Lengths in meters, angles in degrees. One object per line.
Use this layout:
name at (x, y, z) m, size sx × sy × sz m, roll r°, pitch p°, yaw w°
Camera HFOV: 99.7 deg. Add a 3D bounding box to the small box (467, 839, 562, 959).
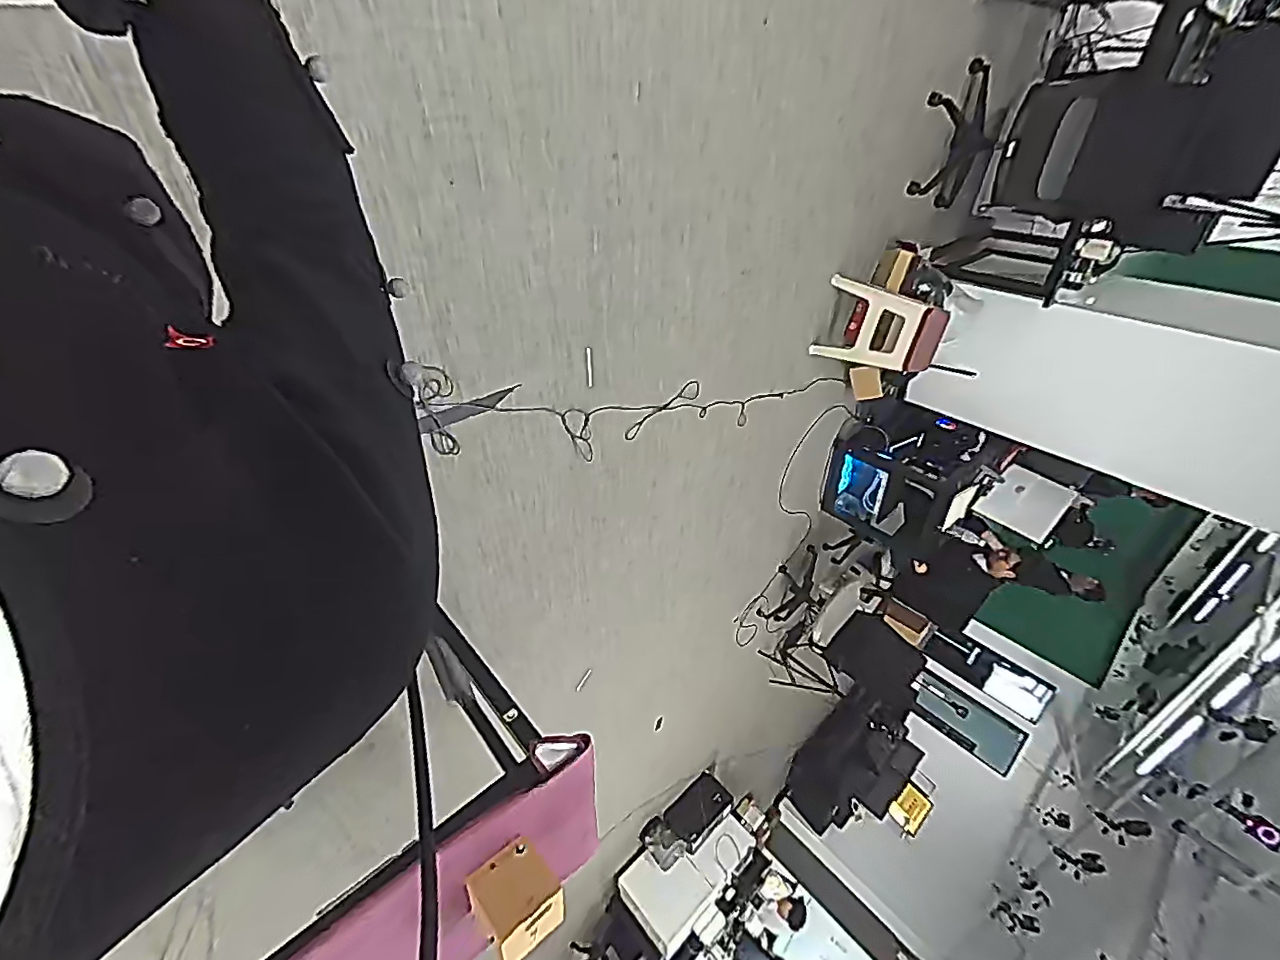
small box at (-0.305, 1.021, 1.310) m, size 0.168 × 0.176 × 0.179 m, roll -22°, pitch 130°, yaw -37°
